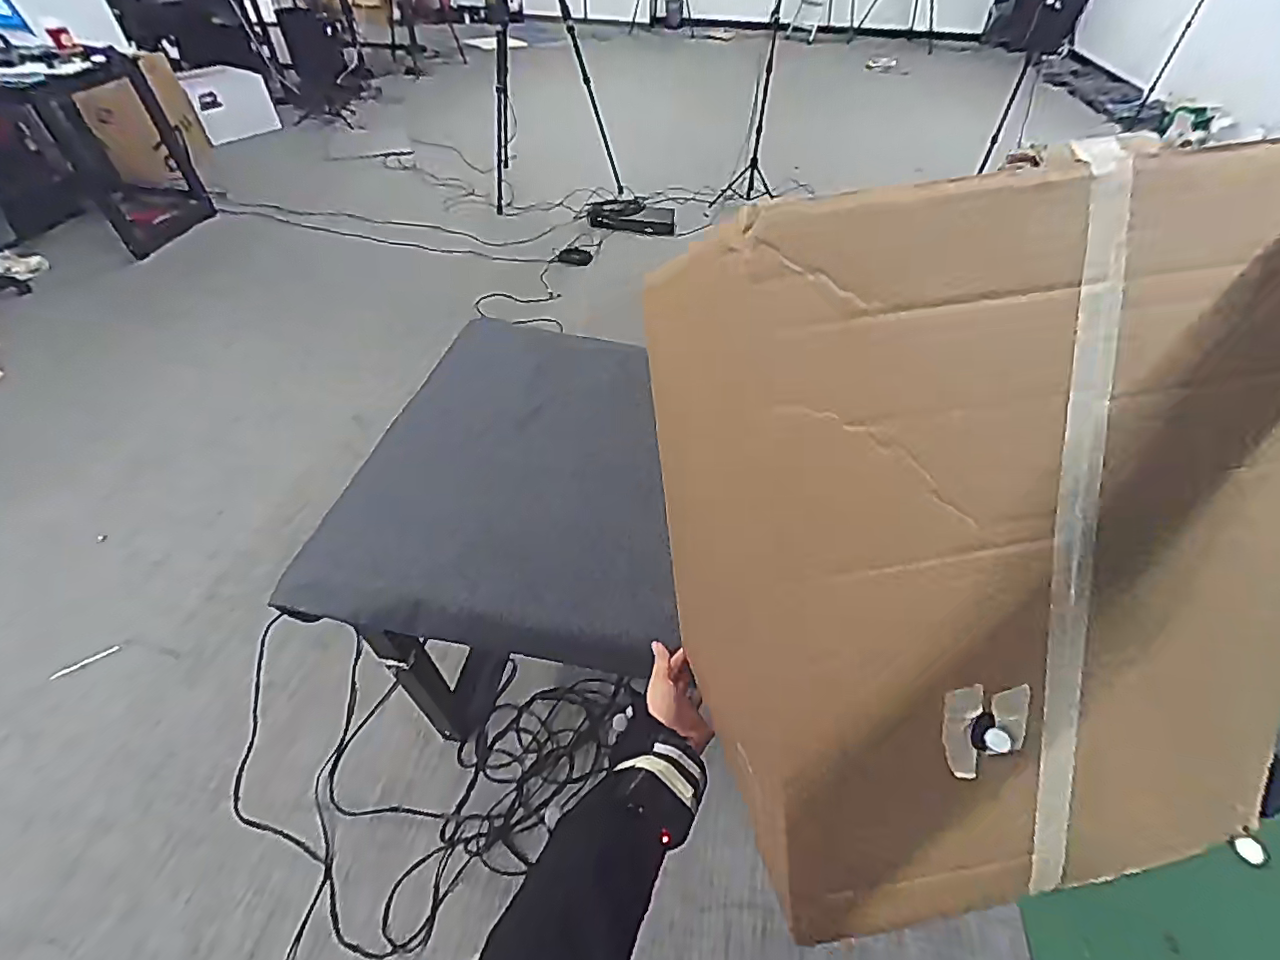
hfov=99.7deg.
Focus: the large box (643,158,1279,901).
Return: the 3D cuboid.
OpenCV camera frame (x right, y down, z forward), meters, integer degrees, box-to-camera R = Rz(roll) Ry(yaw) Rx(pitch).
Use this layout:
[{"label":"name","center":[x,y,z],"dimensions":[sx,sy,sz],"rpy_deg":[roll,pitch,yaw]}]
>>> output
[{"label":"large box","center":[0.201,0.014,0.442],"dimensions":[0.320,0.408,0.320],"rpy_deg":[-10,17,-5]}]
